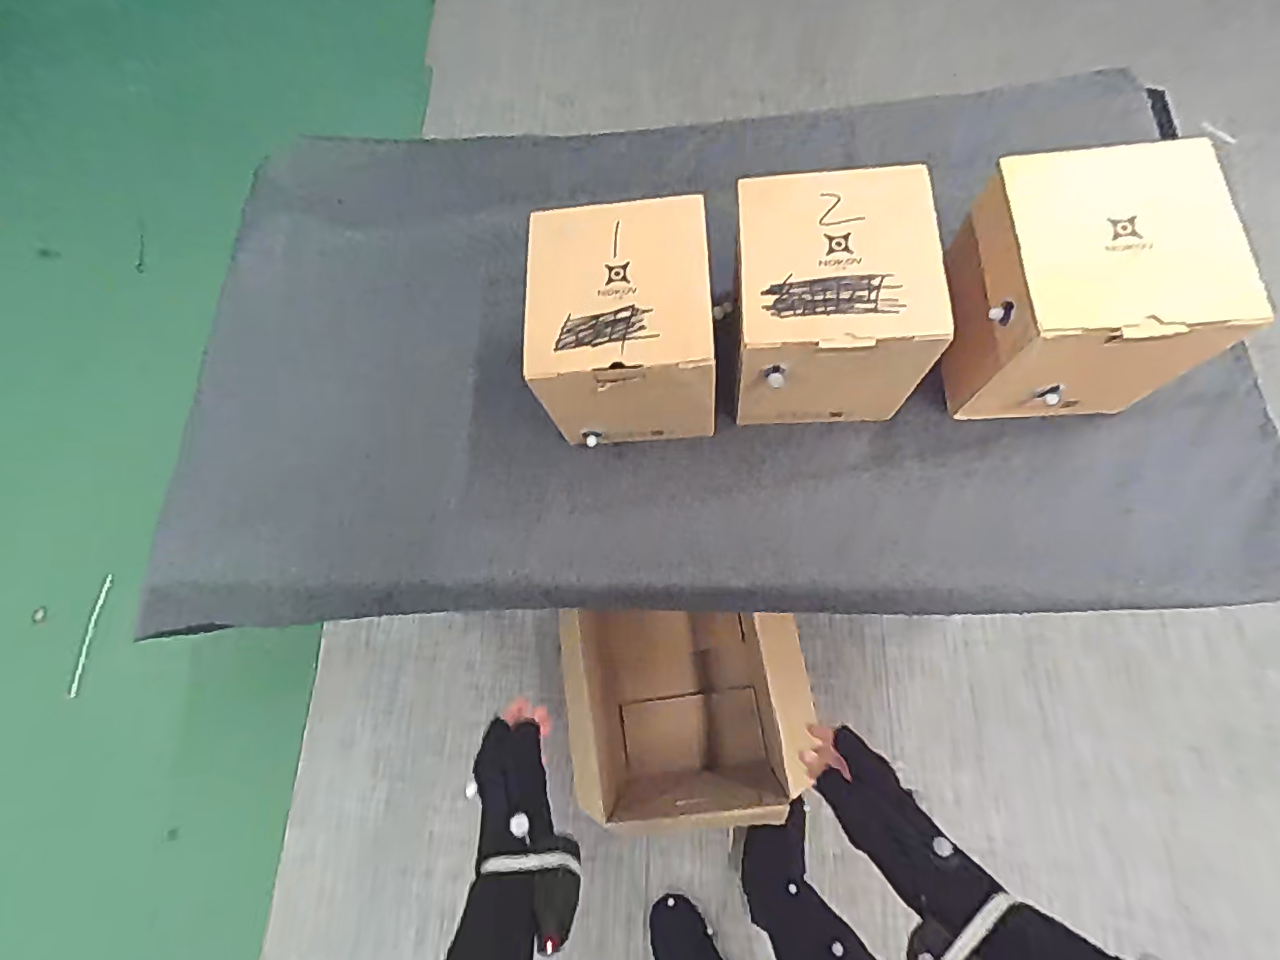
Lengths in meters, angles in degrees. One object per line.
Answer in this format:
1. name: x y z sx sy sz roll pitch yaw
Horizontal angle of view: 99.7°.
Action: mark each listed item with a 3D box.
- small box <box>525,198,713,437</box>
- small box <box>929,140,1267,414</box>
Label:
1. small box: -0.011 -0.150 0.557 0.168 0.176 0.179 -3 73 6
2. small box: 0.398 -0.177 0.513 0.168 0.176 0.179 -3 74 7
